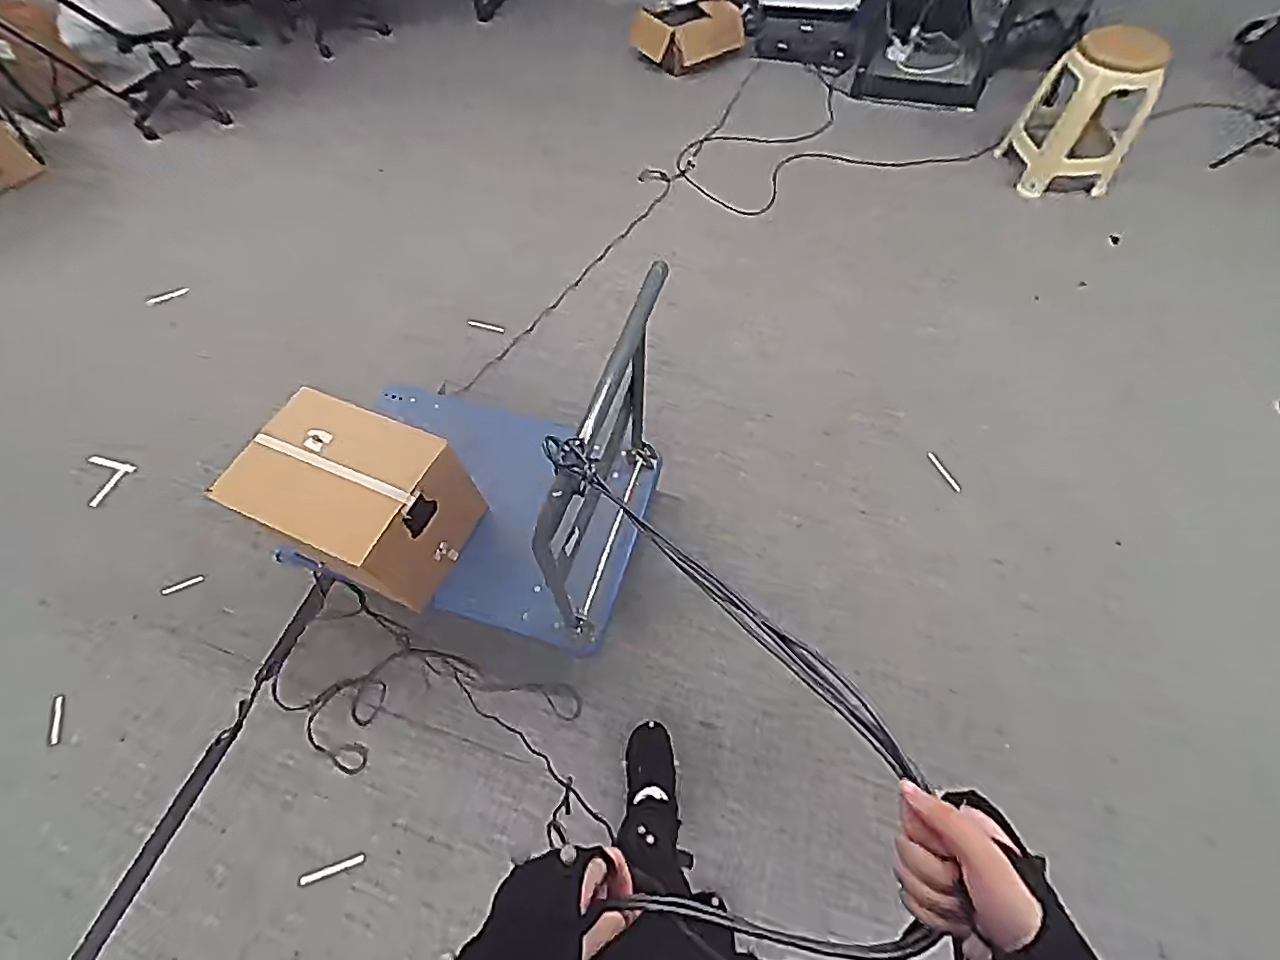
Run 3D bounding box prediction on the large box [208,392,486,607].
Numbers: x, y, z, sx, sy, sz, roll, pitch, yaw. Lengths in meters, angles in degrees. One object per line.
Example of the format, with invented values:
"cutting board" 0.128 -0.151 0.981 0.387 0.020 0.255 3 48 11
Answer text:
"large box" -0.642 0.053 1.260 0.408 0.320 0.320 19 63 13
